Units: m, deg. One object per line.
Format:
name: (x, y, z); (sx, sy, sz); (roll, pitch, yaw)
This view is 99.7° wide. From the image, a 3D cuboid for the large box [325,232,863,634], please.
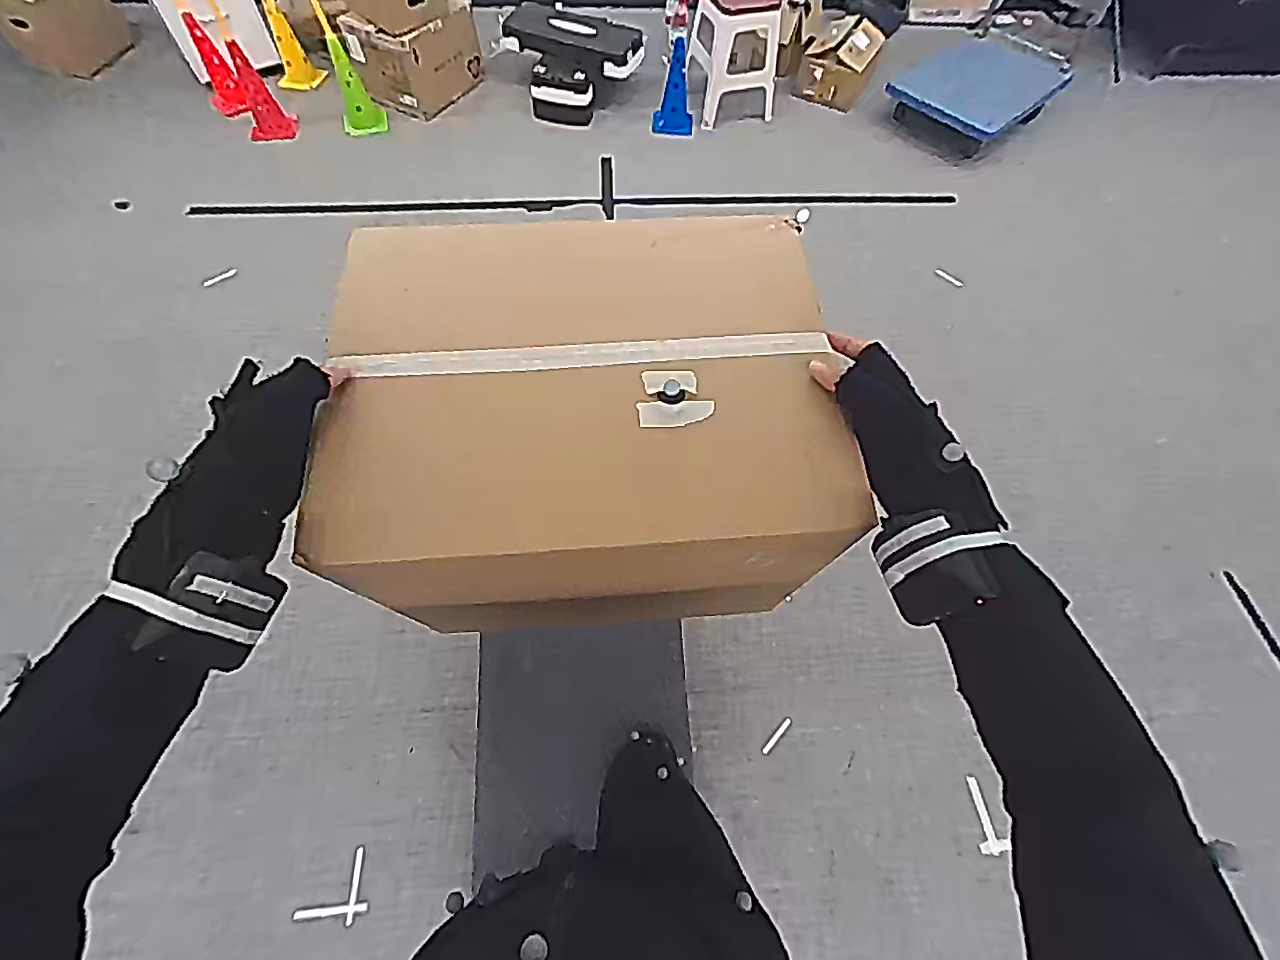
large box: (-0.045, -0.028, 0.589); (0.408, 0.320, 0.320); (-3, 66, -3)
